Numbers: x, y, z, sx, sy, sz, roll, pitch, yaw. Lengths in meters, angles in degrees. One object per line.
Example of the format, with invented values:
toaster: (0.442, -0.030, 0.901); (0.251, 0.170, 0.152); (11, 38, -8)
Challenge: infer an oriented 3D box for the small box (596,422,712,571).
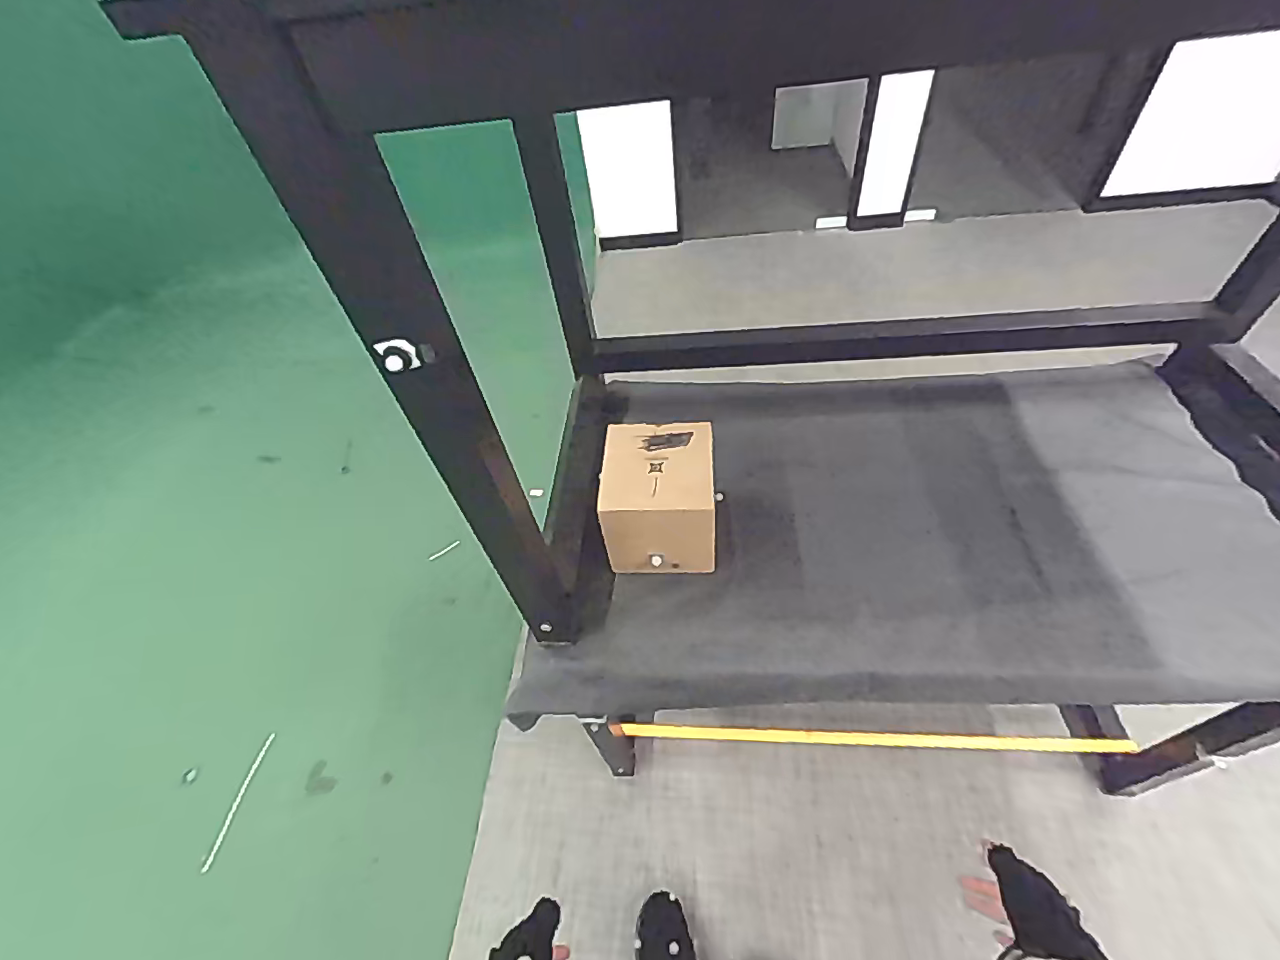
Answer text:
small box: (0.031, 0.026, 0.869); (0.168, 0.176, 0.179); (-1, 50, 7)
